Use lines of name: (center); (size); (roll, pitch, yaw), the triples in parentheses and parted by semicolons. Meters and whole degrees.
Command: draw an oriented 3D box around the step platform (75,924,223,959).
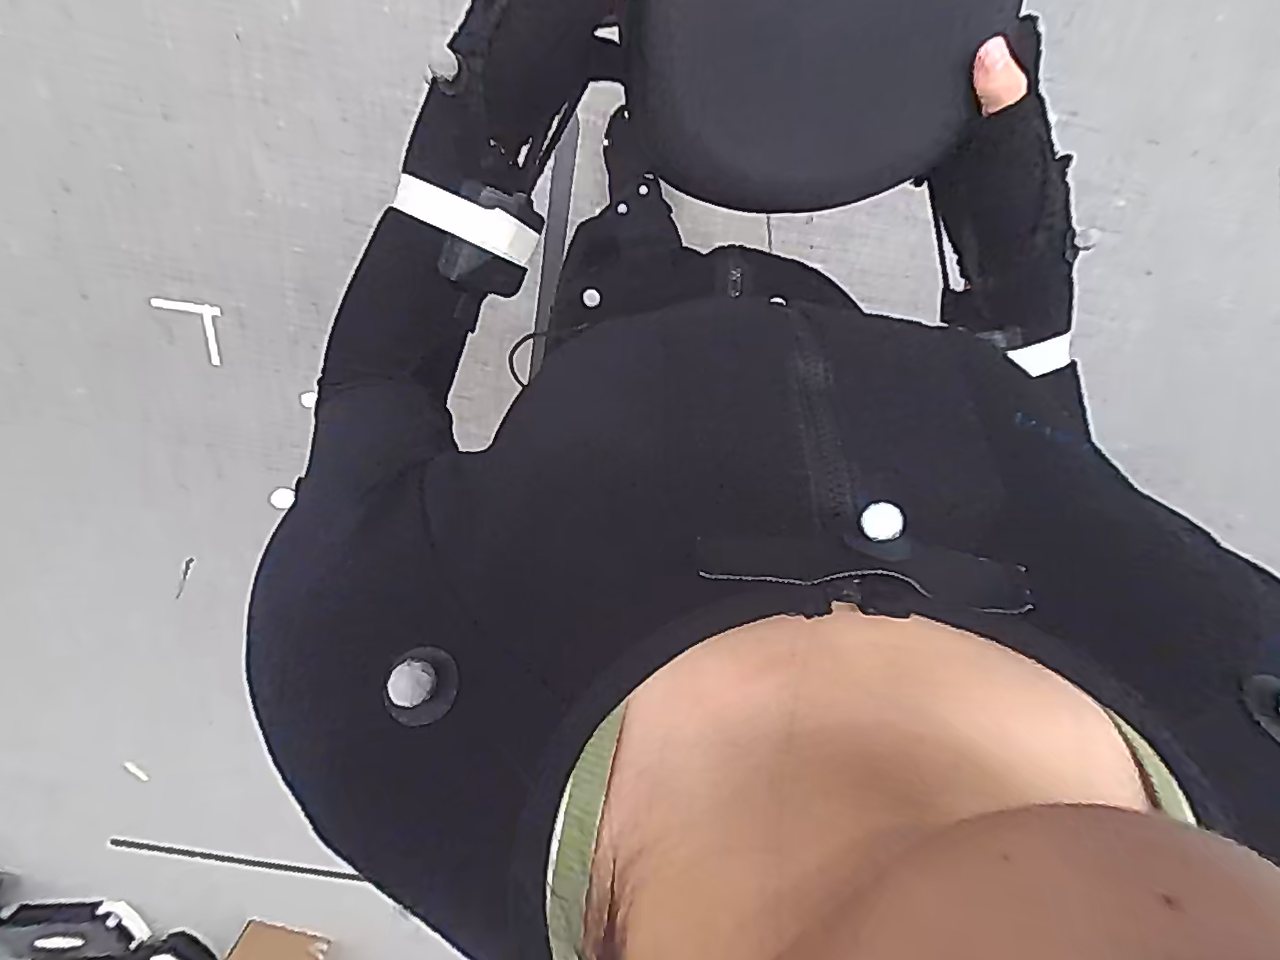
step platform: (-2.482, 2.428, 2.684); (0.684, 0.204, 0.286); (-17, 114, 9)
